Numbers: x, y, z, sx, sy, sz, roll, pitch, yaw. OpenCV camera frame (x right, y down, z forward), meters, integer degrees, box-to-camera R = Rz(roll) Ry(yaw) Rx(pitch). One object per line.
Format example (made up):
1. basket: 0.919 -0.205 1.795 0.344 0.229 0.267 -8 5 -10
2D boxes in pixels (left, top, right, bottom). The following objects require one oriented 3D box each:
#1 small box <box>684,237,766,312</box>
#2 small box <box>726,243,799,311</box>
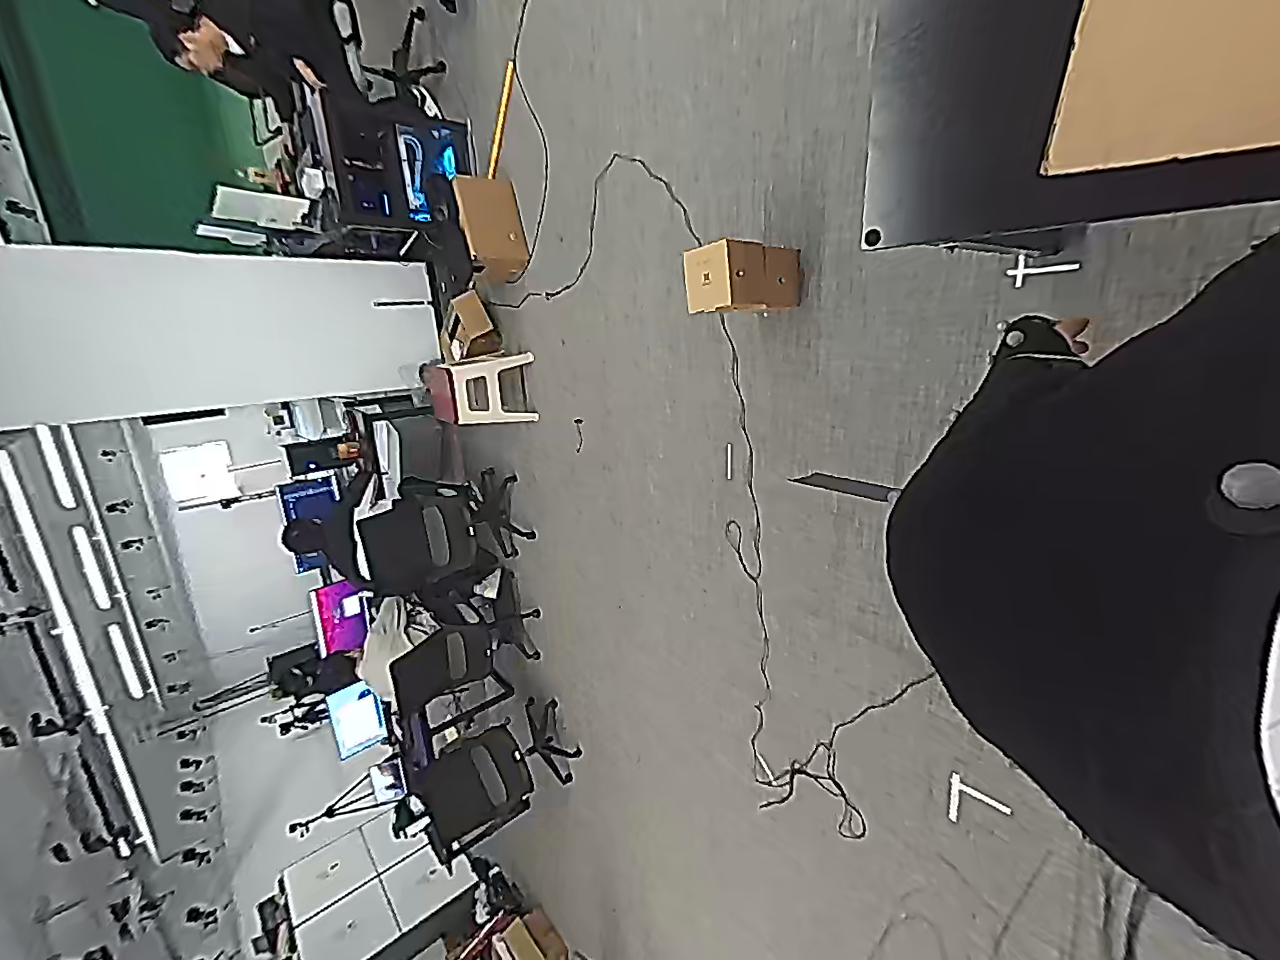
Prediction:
1. small box: 0.251 -0.592 1.571 0.168 0.176 0.179 6 106 49
2. small box: 0.376 -0.621 1.671 0.168 0.176 0.179 11 112 49
